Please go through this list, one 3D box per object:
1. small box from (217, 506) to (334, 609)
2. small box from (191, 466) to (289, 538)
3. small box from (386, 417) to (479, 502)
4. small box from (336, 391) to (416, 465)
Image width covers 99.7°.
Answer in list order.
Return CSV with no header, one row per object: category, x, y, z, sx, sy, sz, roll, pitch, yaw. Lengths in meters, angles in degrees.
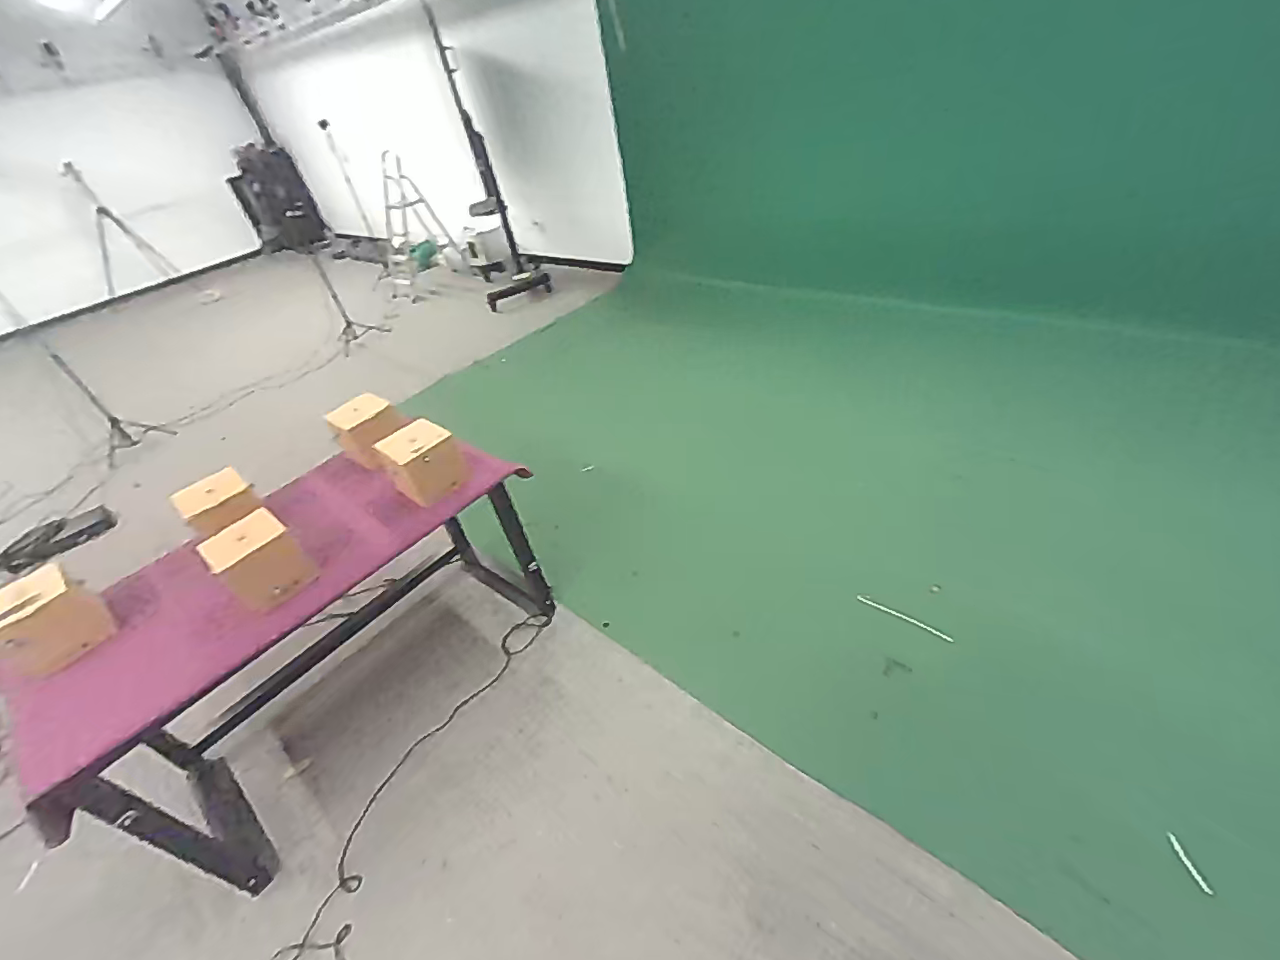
small box,-0.938,0.202,1.399,0.179,0.176,0.168,23,52,37
small box,-1.170,0.091,1.600,0.179,0.176,0.168,26,53,36
small box,-0.616,-0.059,1.617,0.179,0.176,0.168,25,53,37
small box,-0.877,-0.174,1.828,0.179,0.176,0.168,23,54,35
